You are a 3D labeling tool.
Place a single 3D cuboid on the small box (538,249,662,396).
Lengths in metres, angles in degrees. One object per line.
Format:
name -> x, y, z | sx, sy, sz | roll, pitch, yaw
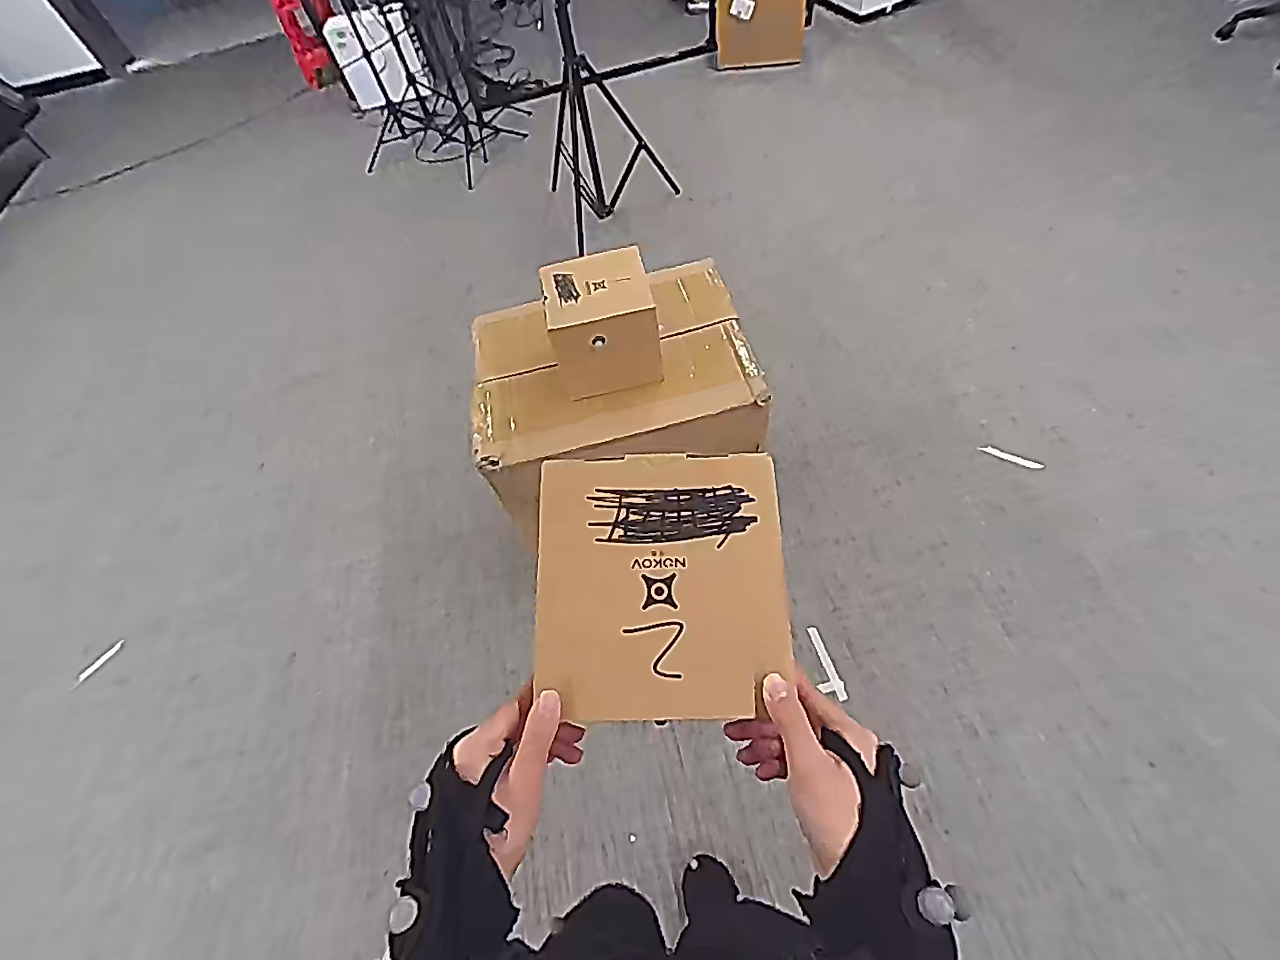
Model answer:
small box -> -0.067, -0.270, 0.954 | 0.179, 0.176, 0.168 | -13, 57, 0
